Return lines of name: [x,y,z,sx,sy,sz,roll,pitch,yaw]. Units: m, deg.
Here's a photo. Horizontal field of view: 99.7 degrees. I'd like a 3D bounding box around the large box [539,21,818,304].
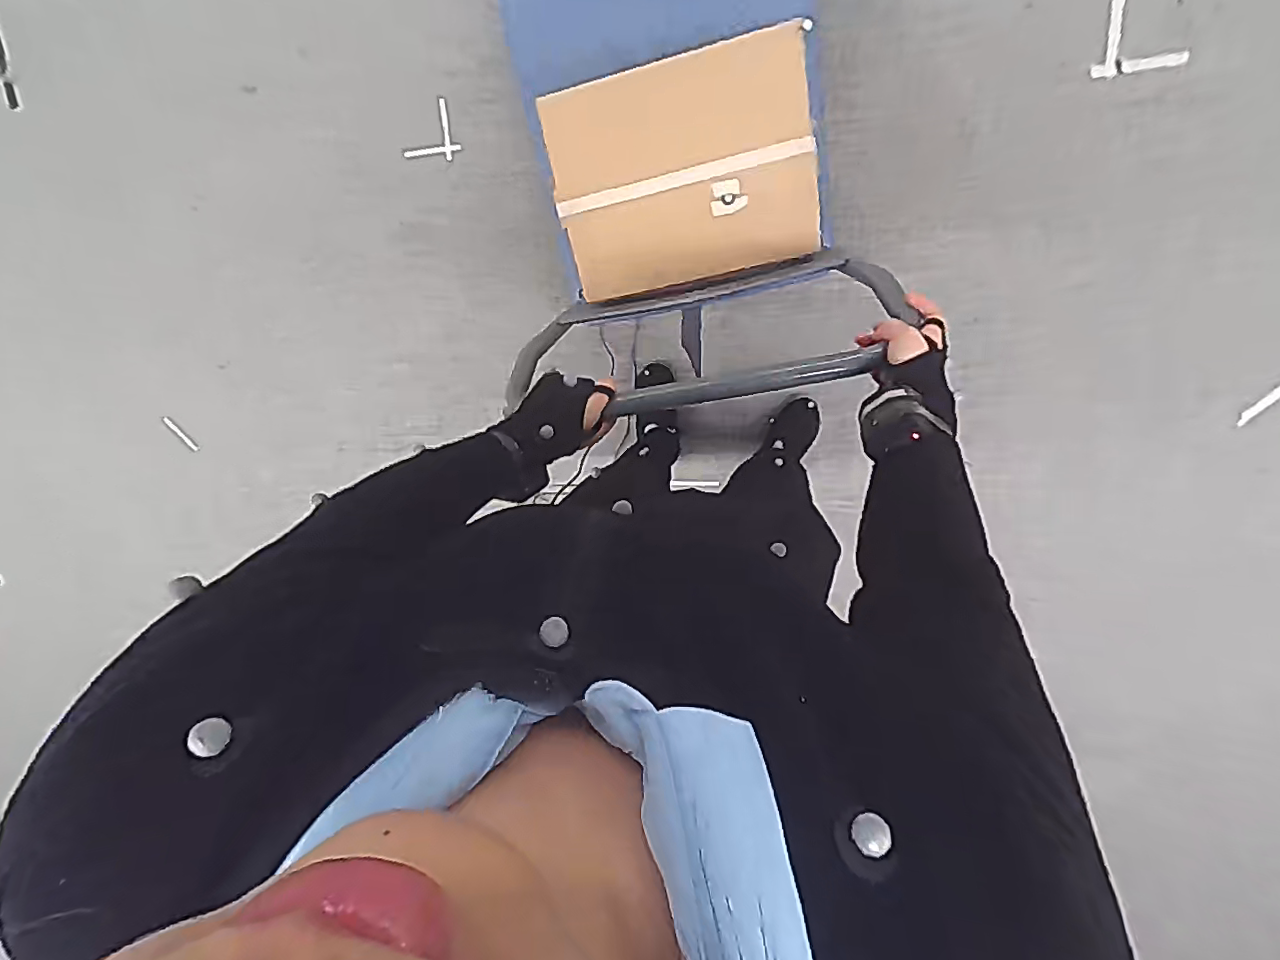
large box: [0.079,-0.546,0.999,0.408,0.320,0.320,-10,115,11]
